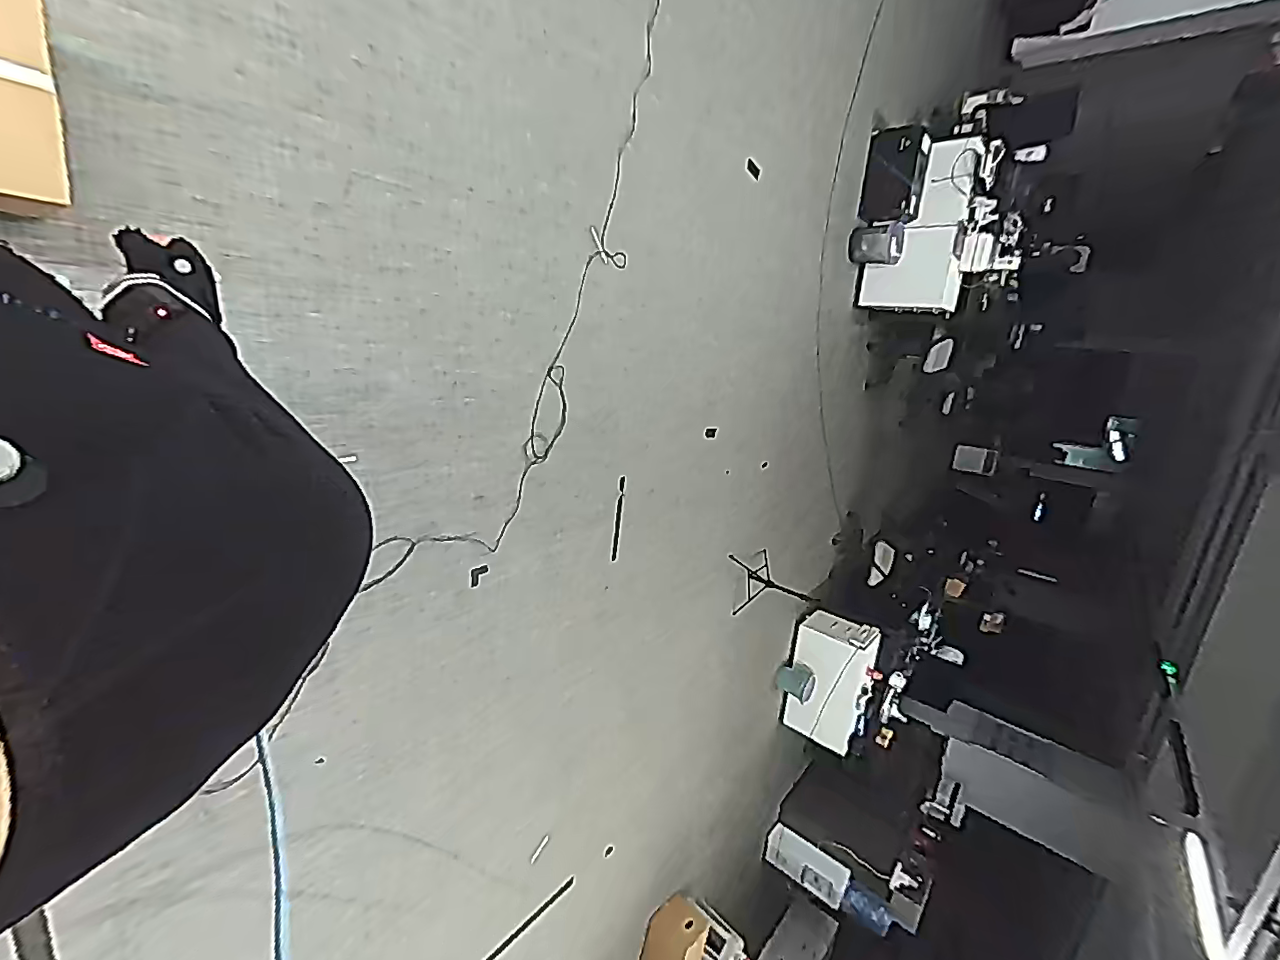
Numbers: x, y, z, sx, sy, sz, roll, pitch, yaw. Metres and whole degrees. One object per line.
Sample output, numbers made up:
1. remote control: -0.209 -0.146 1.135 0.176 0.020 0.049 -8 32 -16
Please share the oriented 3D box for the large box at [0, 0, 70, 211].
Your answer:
1. large box: -1.068 -0.568 0.696 0.408 0.320 0.320 -12 113 -51
